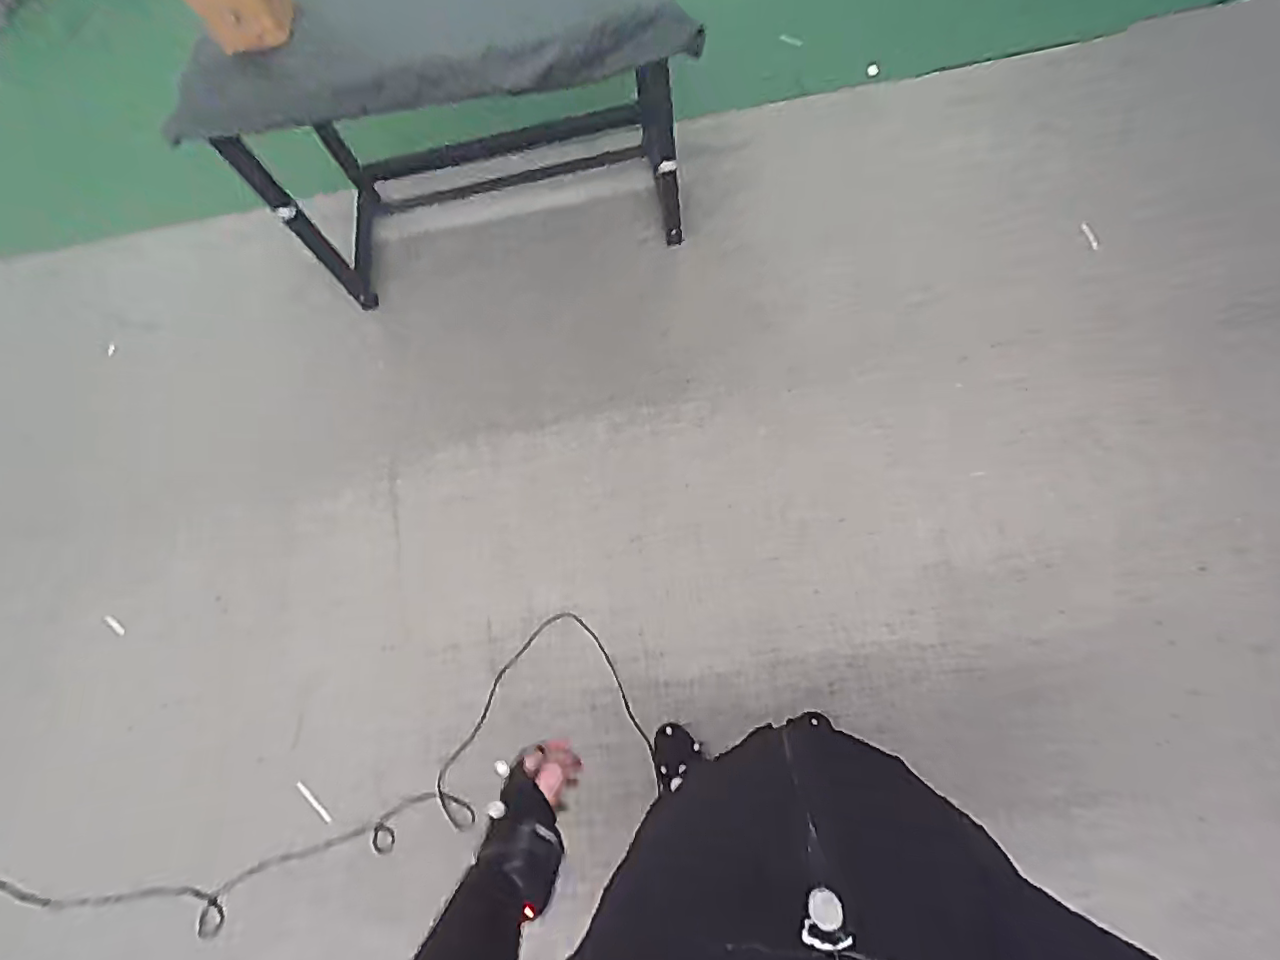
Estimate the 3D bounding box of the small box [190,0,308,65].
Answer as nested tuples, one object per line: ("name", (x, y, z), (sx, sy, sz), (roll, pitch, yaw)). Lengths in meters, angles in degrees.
("small box", (-0.968, -1.178, 1.354), (0.168, 0.176, 0.179), (-8, 68, 4))
